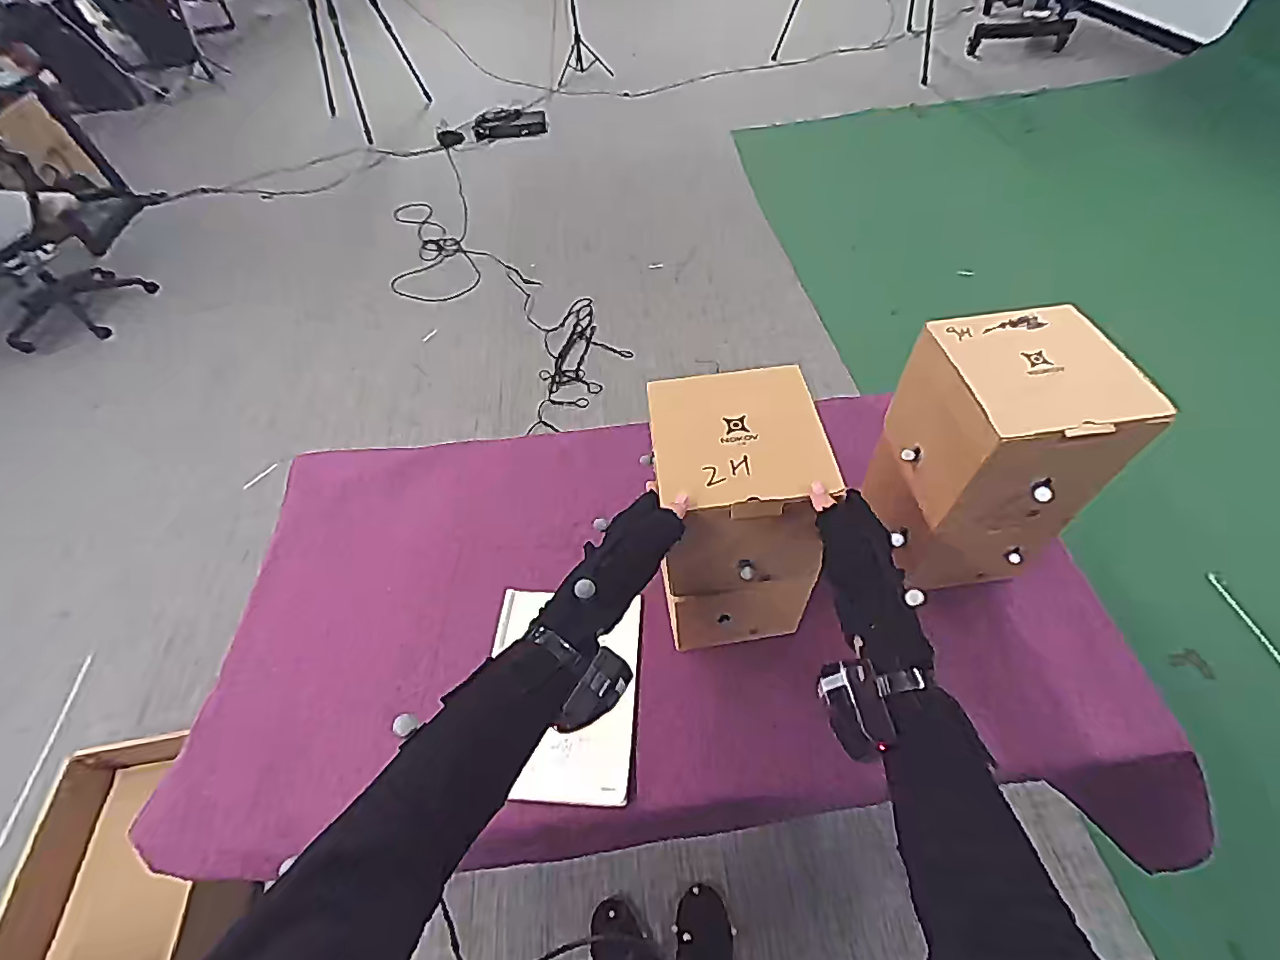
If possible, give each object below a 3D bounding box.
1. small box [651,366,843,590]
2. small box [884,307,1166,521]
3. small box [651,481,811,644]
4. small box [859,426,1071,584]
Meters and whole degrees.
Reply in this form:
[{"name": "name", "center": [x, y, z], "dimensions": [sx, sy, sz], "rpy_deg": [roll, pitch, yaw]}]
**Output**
[{"name": "small box", "center": [0.101, 0.001, 0.593], "dimensions": [0.168, 0.176, 0.179], "rpy_deg": [-6, 52, 2]}, {"name": "small box", "center": [0.405, -0.065, 0.612], "dimensions": [0.168, 0.176, 0.179], "rpy_deg": [-6, 54, 0]}, {"name": "small box", "center": [0.113, 0.105, 0.722], "dimensions": [0.168, 0.176, 0.179], "rpy_deg": [-9, 52, -1]}, {"name": "small box", "center": [0.424, 0.031, 0.743], "dimensions": [0.168, 0.176, 0.179], "rpy_deg": [-6, 53, 1]}]
